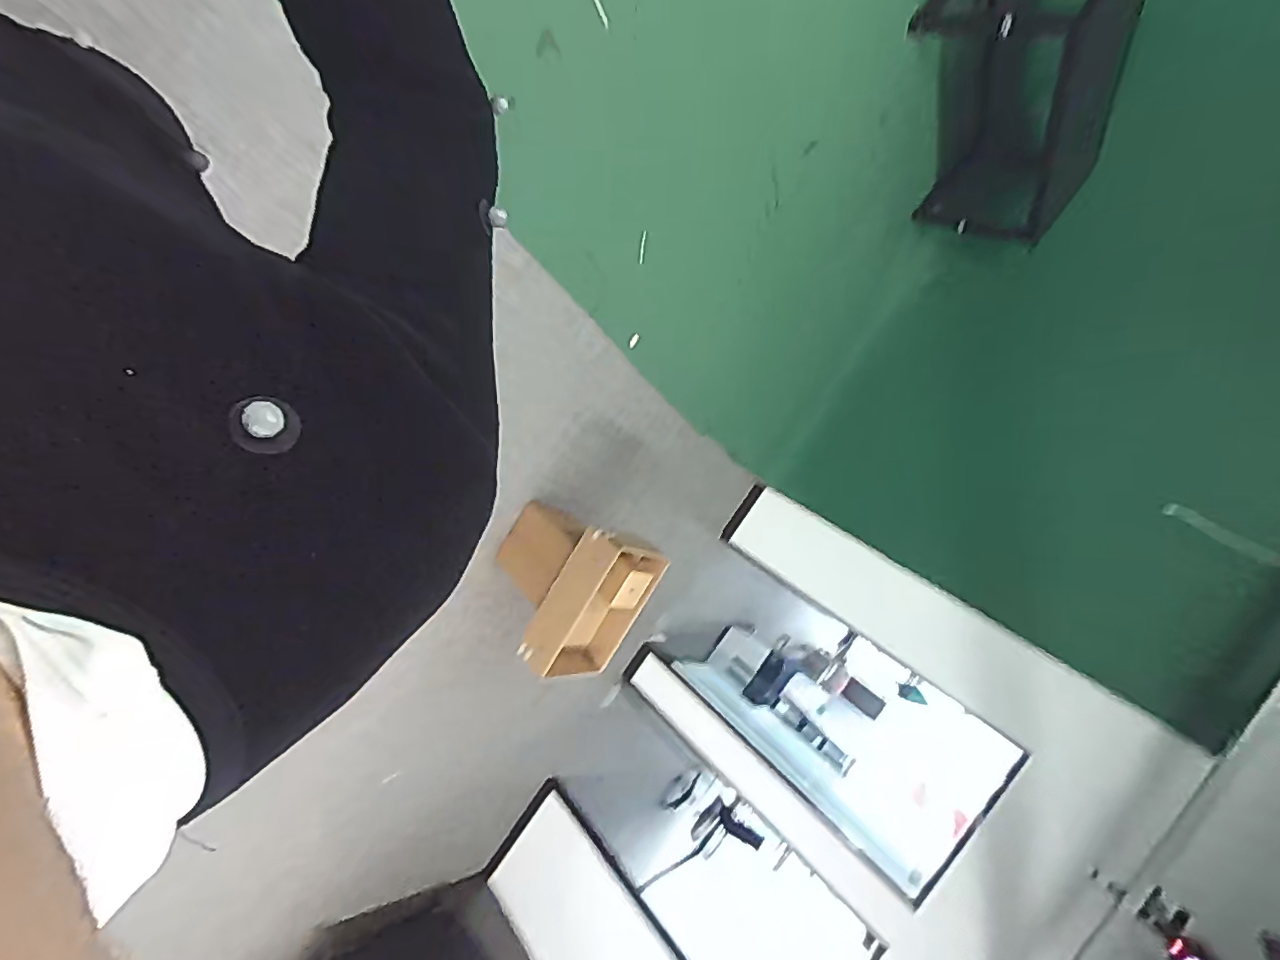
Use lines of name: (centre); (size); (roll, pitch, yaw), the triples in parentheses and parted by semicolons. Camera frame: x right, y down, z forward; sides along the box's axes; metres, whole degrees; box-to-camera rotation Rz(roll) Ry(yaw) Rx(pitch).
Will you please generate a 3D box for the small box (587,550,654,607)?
small box: (-0.083, 0.400, 2.201); (0.179, 0.176, 0.168); (22, 100, -56)
